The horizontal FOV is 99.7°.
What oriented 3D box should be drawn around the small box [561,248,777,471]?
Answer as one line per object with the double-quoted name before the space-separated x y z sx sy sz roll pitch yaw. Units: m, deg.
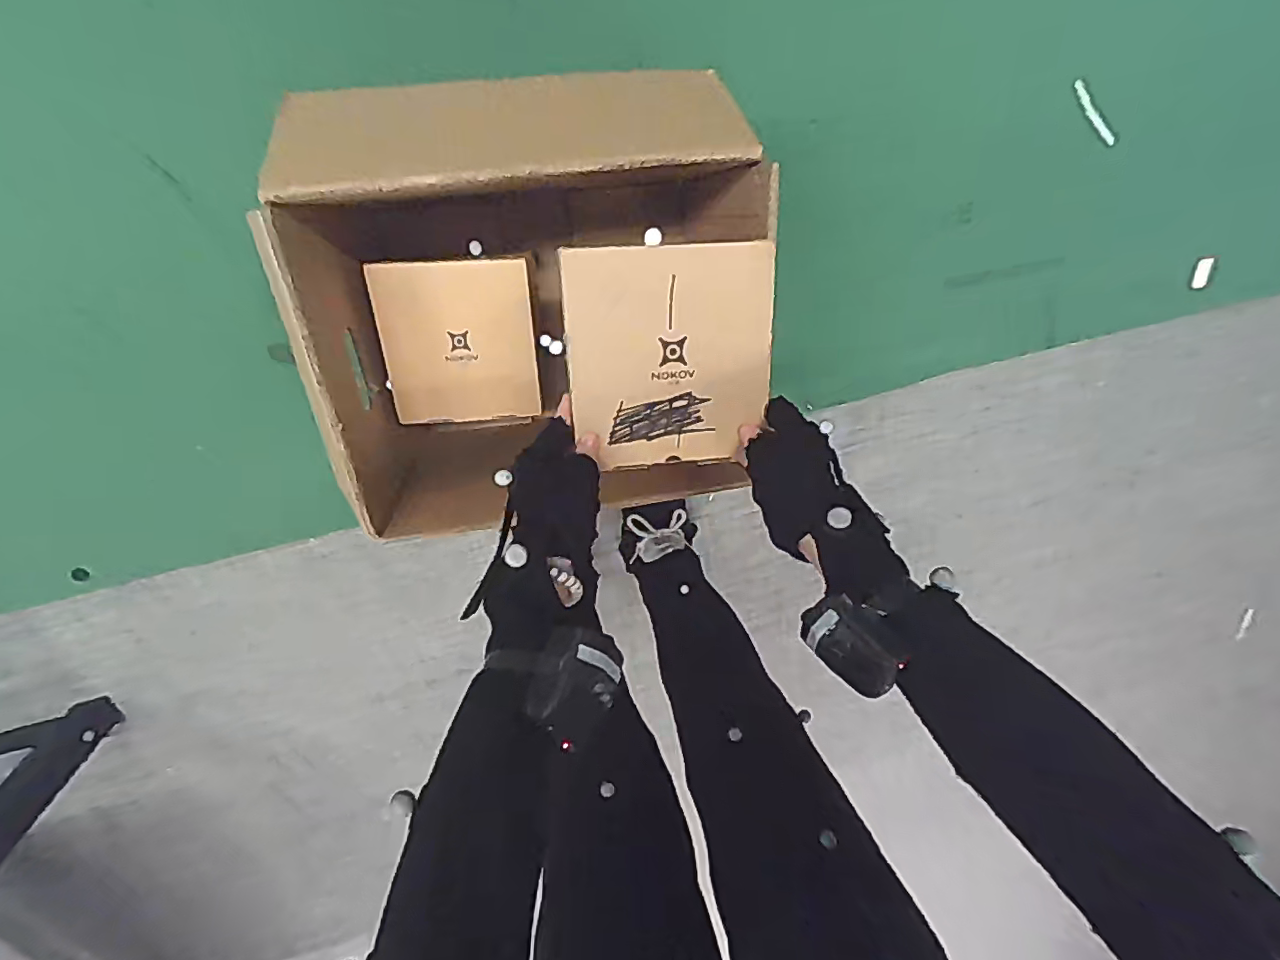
"small box" 0.015 -0.121 0.507 0.168 0.176 0.179 -4 111 -7
